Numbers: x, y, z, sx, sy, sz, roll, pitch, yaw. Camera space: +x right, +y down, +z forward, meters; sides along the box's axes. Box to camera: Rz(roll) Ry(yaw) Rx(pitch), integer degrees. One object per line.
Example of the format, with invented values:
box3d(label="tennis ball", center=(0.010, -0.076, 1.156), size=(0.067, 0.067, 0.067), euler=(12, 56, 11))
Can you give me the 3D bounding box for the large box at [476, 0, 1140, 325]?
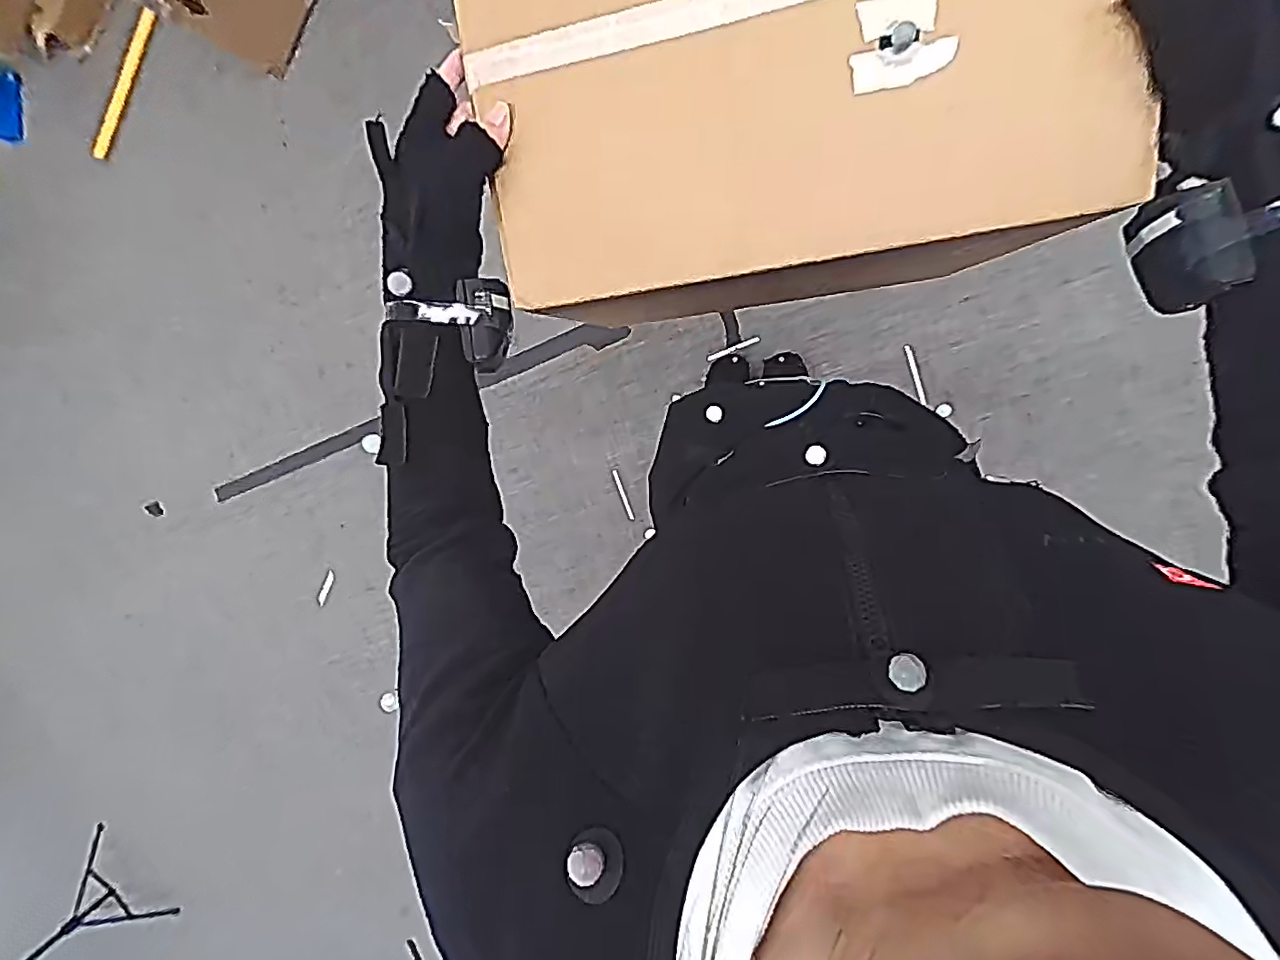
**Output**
box3d(label="large box", center=(0.109, -0.335, 0.482), size=(0.408, 0.320, 0.320), euler=(-6, 103, 10))
